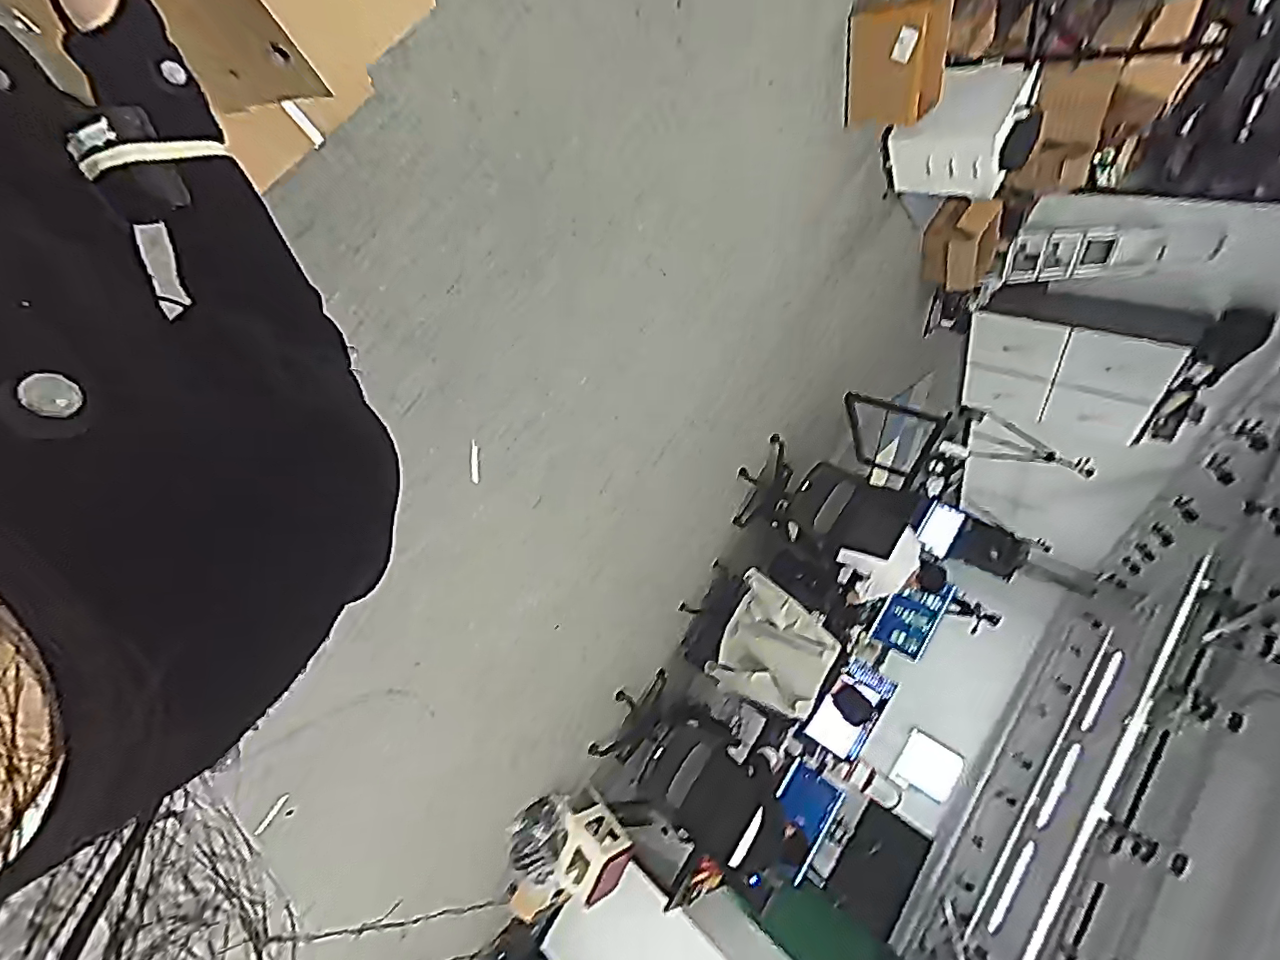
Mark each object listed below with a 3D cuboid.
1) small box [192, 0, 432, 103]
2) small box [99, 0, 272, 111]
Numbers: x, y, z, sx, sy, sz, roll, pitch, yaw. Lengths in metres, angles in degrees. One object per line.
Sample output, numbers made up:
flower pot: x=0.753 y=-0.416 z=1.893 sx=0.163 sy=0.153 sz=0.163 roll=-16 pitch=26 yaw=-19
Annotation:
small box: x=-0.366 y=-0.534 z=0.566 sx=0.168 sy=0.176 sz=0.179 roll=-53 pitch=143 yaw=-13
small box: x=-0.605 y=-0.653 z=0.758 sx=0.168 sy=0.176 sz=0.179 roll=-55 pitch=145 yaw=-9
